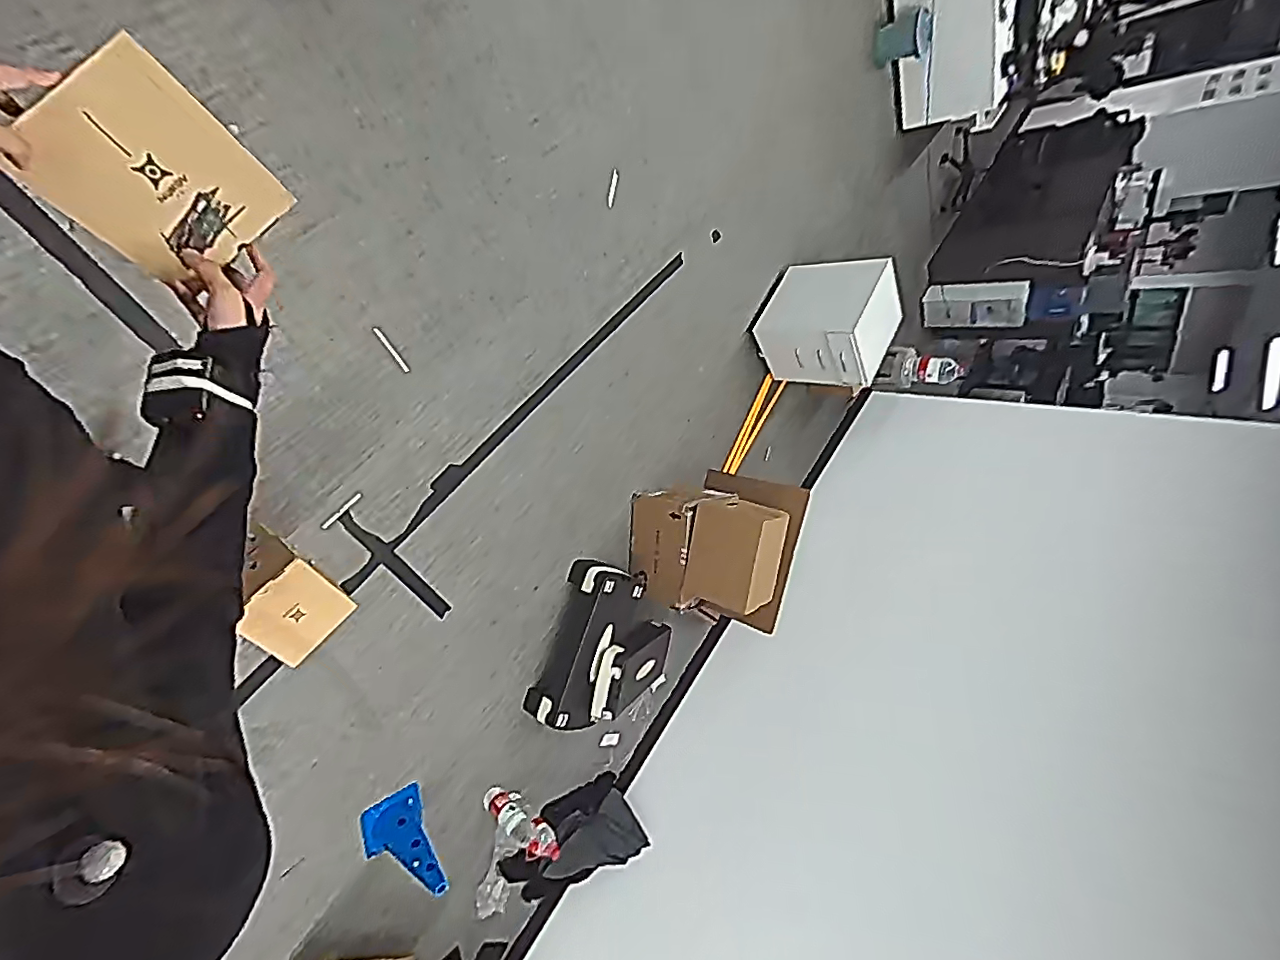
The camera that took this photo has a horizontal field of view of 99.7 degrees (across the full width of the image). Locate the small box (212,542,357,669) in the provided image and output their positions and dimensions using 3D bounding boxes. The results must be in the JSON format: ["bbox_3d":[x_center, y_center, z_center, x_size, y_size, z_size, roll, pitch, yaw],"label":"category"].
[{"bbox_3d":[-0.749,0.257,1.140,0.168,0.176,0.179,-49,133,-25],"label":"small box"}]

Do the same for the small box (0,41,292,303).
[{"bbox_3d":[-0.531,-0.330,0.586,0.168,0.176,0.179,-50,141,-8],"label":"small box"}]

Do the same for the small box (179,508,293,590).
[{"bbox_3d":[-0.993,0.192,1.349,0.168,0.176,0.179,-53,134,-23],"label":"small box"}]
